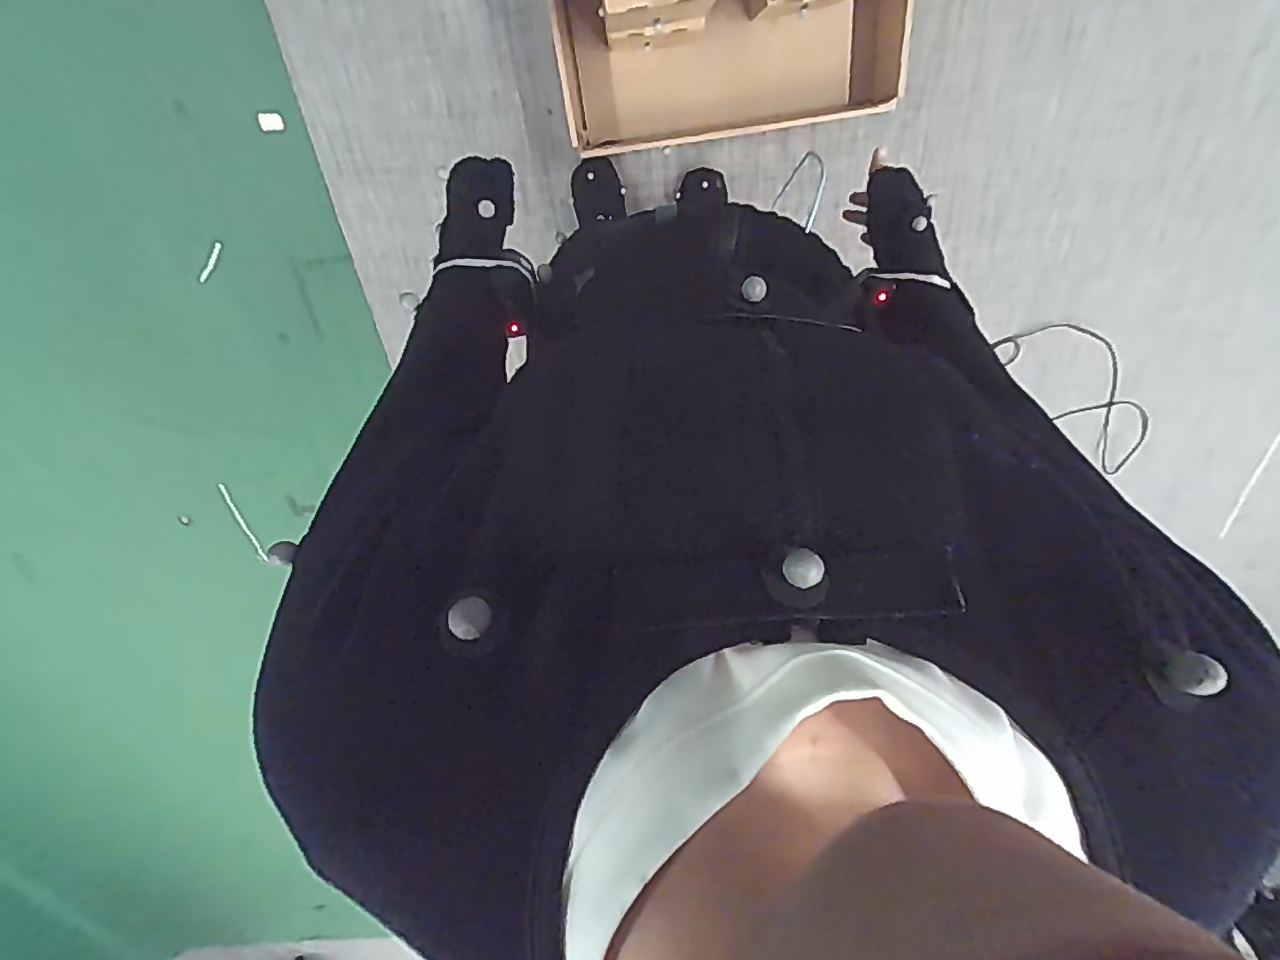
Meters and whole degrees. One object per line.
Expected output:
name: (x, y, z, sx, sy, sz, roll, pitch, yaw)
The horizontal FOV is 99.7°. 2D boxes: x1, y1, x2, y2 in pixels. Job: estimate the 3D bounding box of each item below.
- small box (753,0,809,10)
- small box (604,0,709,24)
small box: (0.275, -0.920, 0.905, 0.168, 0.176, 0.179, -9, 123, 7)
small box: (0.019, -0.798, 0.783, 0.168, 0.176, 0.179, -7, 123, 3)
